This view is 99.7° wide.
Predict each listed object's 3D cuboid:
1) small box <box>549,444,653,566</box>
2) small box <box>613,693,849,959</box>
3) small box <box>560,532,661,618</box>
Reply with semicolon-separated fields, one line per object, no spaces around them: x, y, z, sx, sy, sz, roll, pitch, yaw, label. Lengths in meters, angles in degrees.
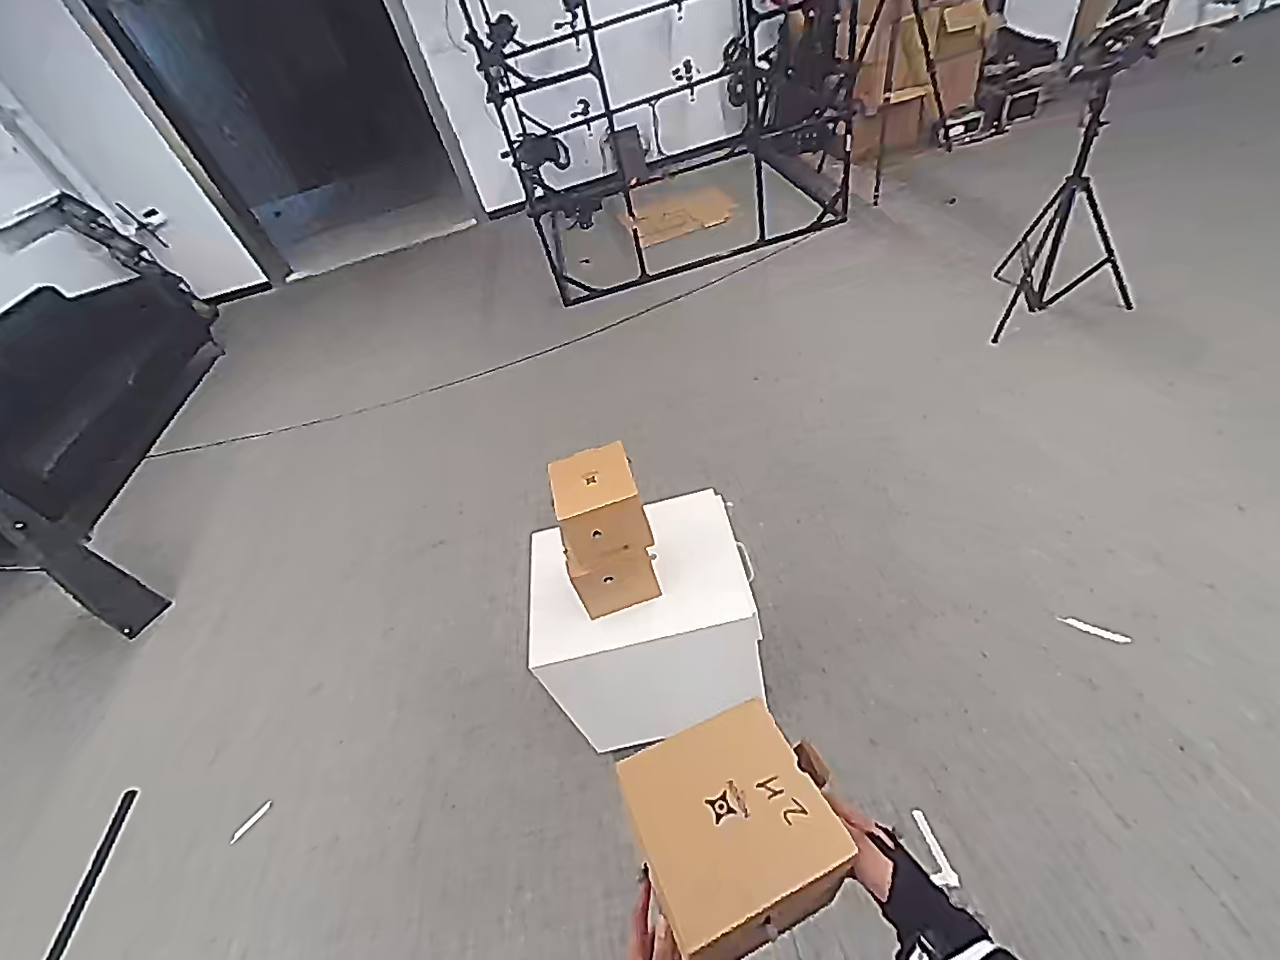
-0.081;0.060;1.145;0.168;0.176;0.179;-19;43;-1;small box
0.087;0.368;0.571;0.179;0.176;0.168;-18;42;-15;small box
-0.067;0.191;1.245;0.179;0.176;0.168;-19;44;-2;small box
